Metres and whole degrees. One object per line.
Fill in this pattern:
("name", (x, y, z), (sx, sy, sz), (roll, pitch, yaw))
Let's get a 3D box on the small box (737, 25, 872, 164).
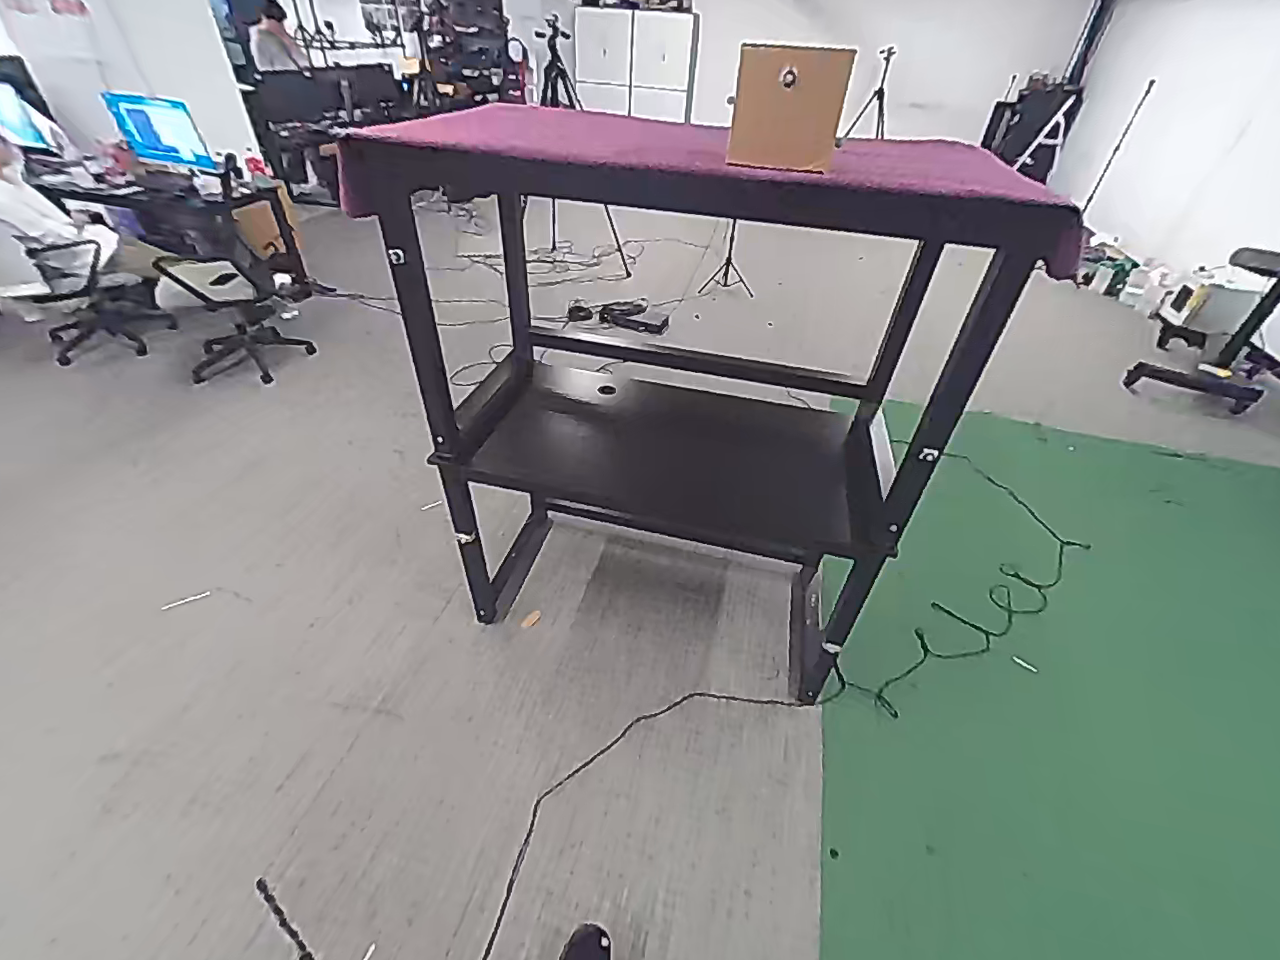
("small box", (0.267, -0.637, 0.898), (0.179, 0.176, 0.168), (14, 40, 10))
